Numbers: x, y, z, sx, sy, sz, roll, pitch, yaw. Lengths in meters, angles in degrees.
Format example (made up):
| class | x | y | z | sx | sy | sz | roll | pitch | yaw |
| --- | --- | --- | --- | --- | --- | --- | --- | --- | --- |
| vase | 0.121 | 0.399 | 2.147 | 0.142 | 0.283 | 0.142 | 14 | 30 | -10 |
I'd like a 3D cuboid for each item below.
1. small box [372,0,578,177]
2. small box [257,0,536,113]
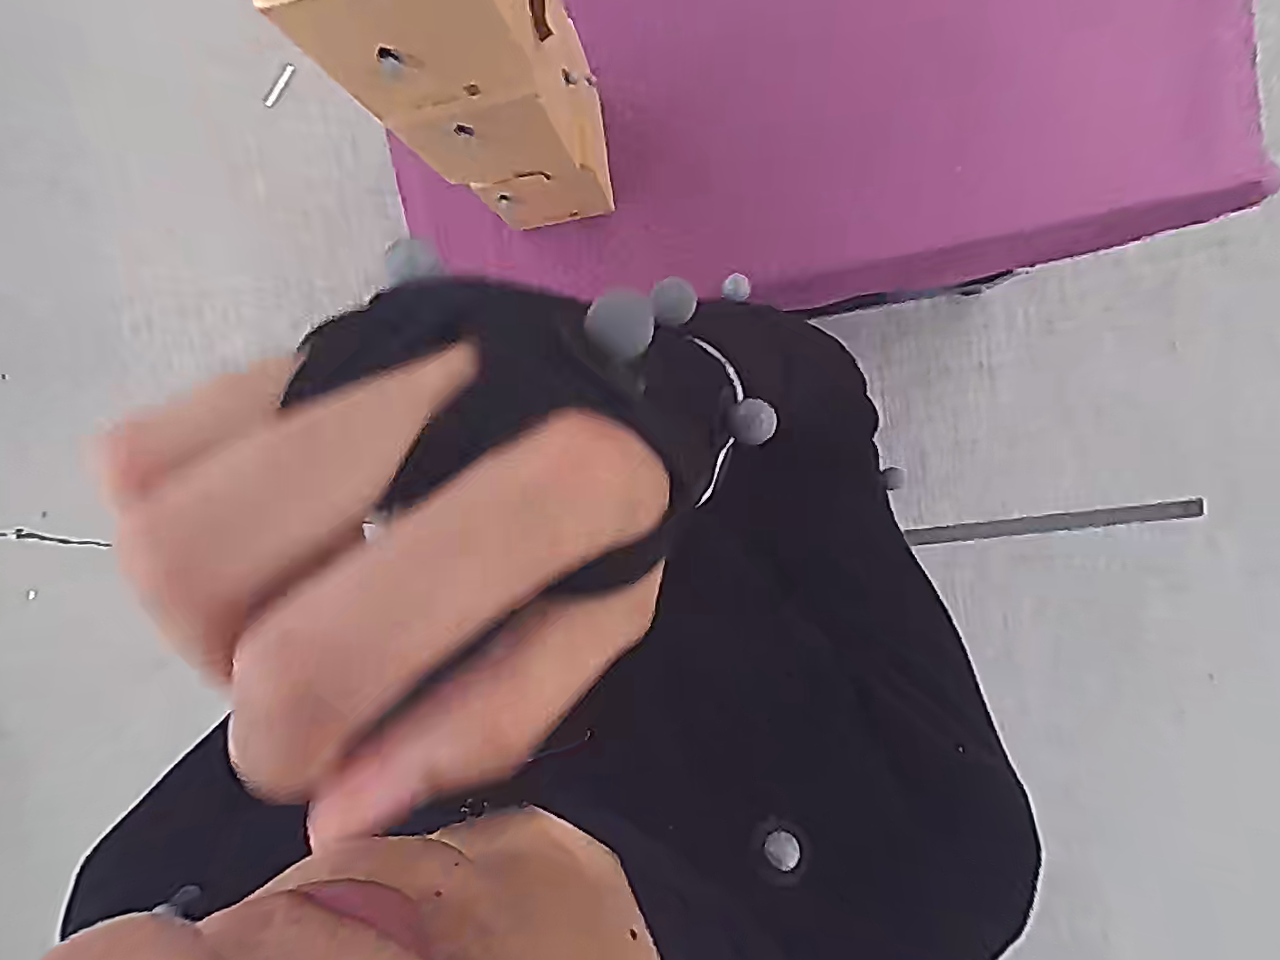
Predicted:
| class | x | y | z | sx | sy | sz | roll | pitch | yaw |
| --- | --- | --- | --- | --- | --- | --- | --- | --- | --- |
| small box | -0.178 | -0.465 | 0.610 | 0.179 | 0.176 | 0.168 | -1 | 97 | 7 |
| small box | -0.197 | -0.443 | 0.450 | 0.168 | 0.176 | 0.179 | -7 | 95 | 8 |
